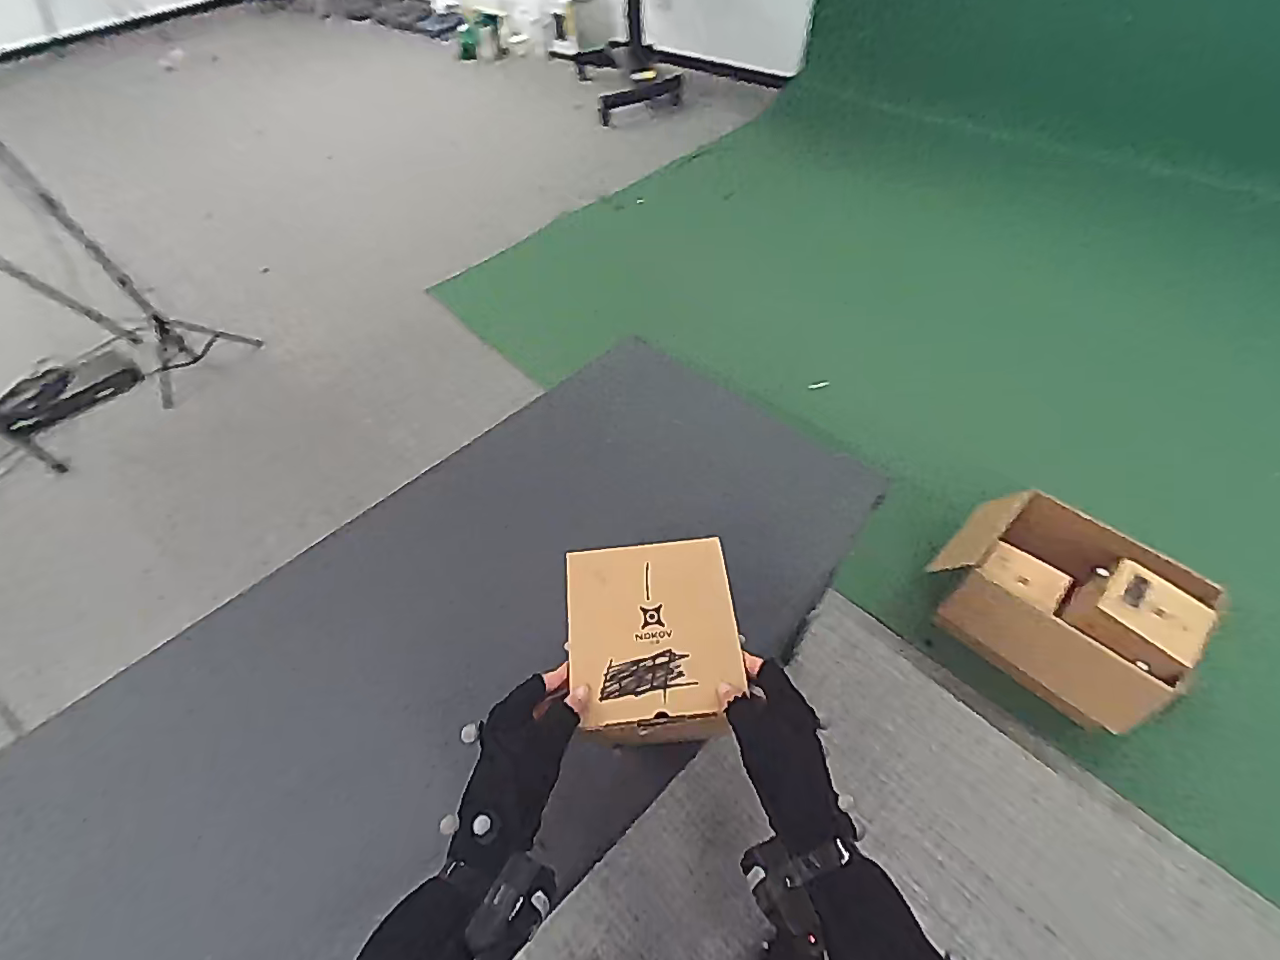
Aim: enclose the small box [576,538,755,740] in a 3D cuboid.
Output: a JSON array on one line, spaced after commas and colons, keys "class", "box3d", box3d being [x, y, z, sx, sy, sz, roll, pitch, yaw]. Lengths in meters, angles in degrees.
[{"class": "small box", "box3d": [0.023, 0.183, 0.597, 0.168, 0.176, 0.179, -5, 58, 0]}]
